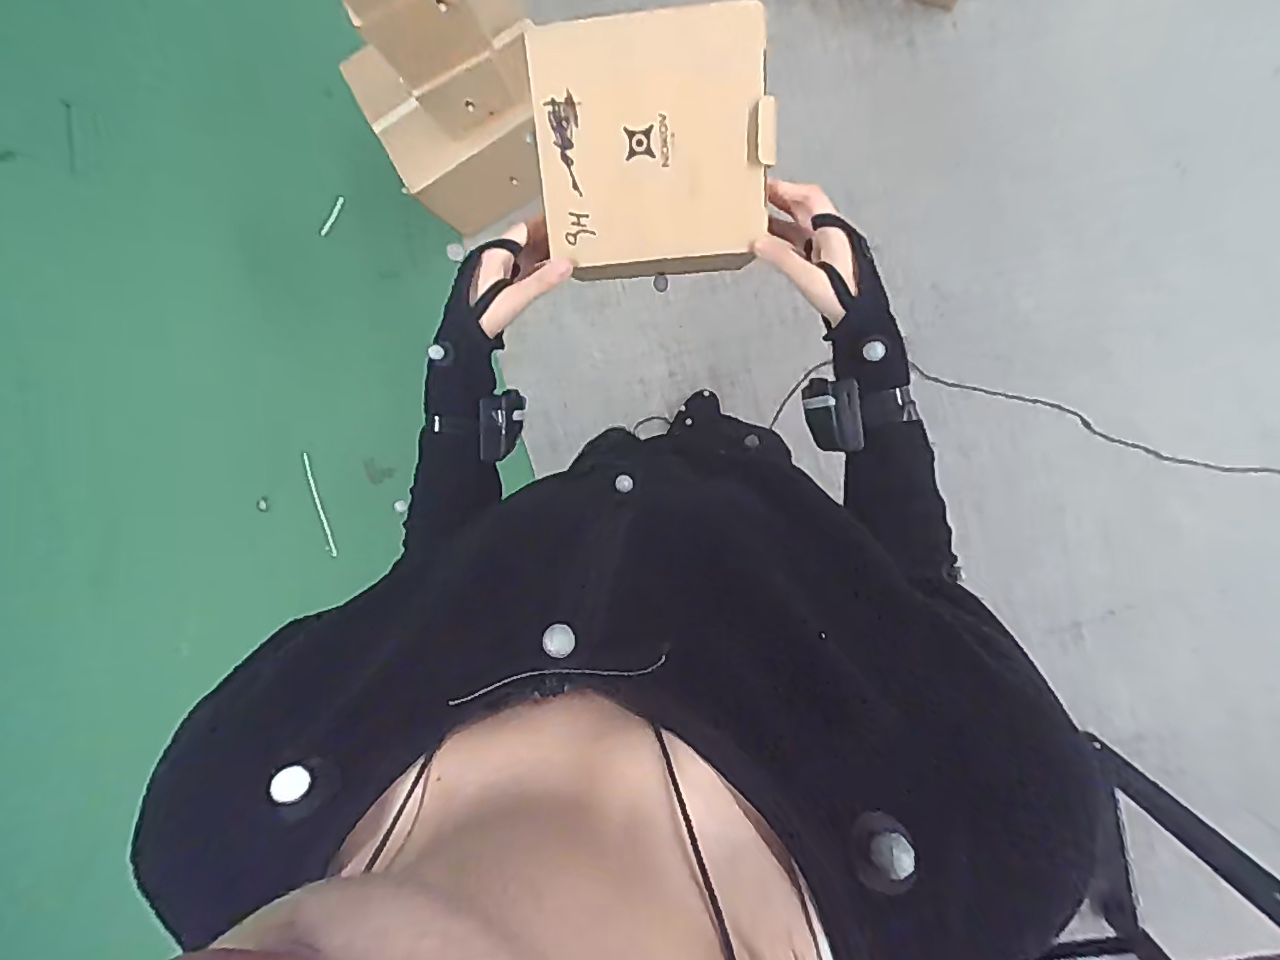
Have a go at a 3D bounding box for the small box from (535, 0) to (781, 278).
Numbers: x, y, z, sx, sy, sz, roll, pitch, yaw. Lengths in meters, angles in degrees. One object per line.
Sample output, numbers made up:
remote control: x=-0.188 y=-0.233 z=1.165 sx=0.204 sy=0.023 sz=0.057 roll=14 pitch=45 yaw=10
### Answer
small box: x=0.017 y=-0.277 z=0.477 sx=0.179 sy=0.176 sz=0.168 roll=-4 pitch=105 yaw=3

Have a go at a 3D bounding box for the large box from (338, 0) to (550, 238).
large box: x=-0.391 y=-0.859 z=1.285 sx=0.408 sy=0.320 sz=0.320 roll=-29 pitch=93 yaw=8

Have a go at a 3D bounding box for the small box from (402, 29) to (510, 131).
small box: x=-0.373 y=-0.815 z=1.041 sx=0.168 sy=0.176 sz=0.179 roll=-23 pitch=95 yaw=6

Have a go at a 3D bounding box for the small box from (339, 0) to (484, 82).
small box: x=-0.385 y=-0.804 z=0.880 sx=0.179 sy=0.176 sz=0.168 roll=-22 pitch=95 yaw=6
